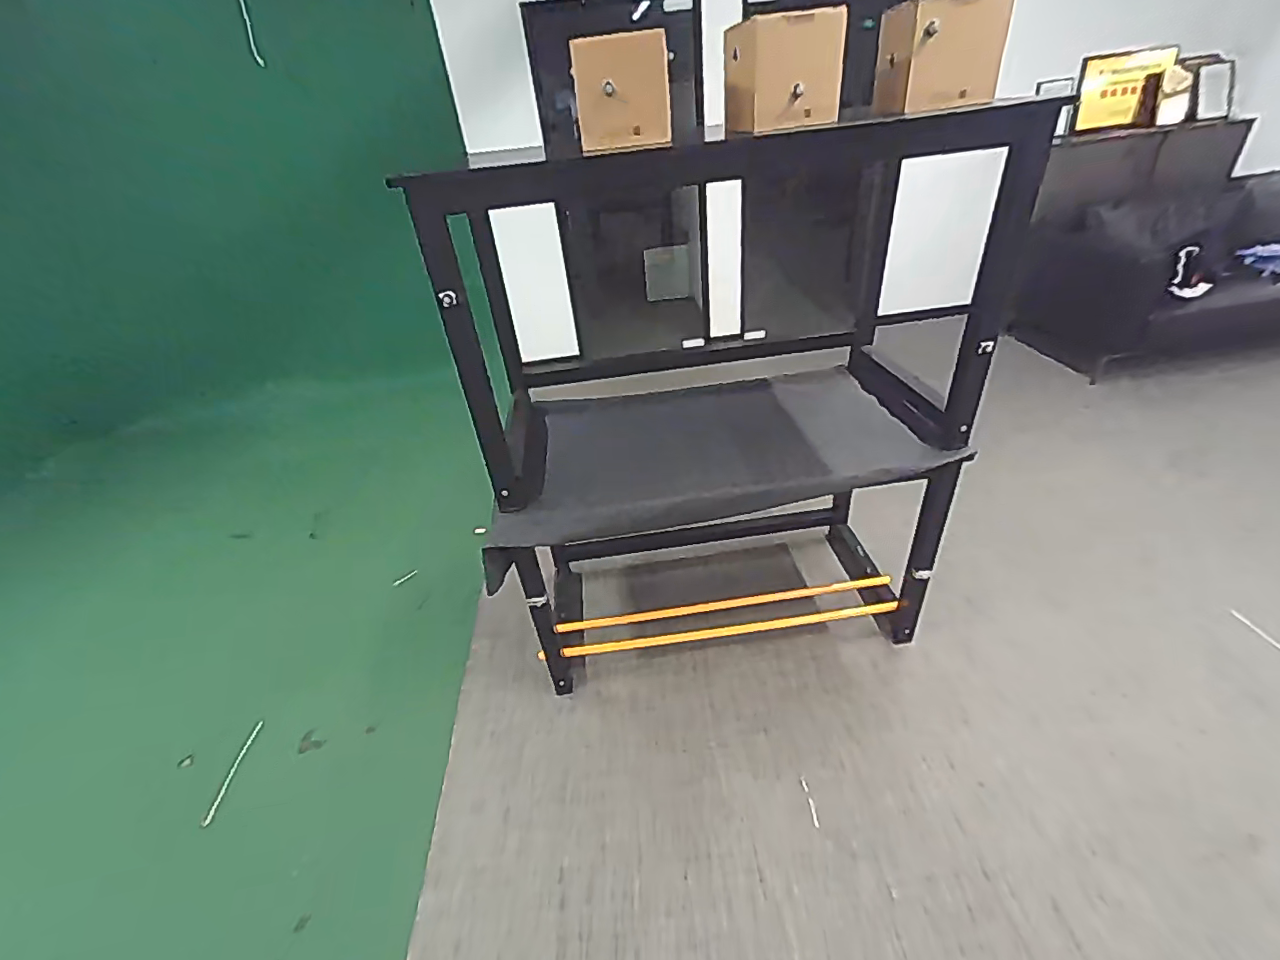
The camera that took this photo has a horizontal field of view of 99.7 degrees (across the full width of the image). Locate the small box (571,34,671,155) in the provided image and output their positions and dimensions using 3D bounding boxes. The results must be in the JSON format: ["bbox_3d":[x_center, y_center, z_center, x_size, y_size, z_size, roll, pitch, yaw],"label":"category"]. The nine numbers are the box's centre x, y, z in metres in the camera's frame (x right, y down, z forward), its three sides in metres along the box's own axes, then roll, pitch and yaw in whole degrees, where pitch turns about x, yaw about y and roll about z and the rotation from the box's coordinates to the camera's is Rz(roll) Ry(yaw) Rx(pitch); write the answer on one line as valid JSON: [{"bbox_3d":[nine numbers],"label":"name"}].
[{"bbox_3d":[-0.028,-0.735,1.045,0.168,0.176,0.179,-3,33,5],"label":"small box"}]

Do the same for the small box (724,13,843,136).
[{"bbox_3d":[0.264,-0.767,1.038,0.168,0.176,0.179,-11,34,-5],"label":"small box"}]
